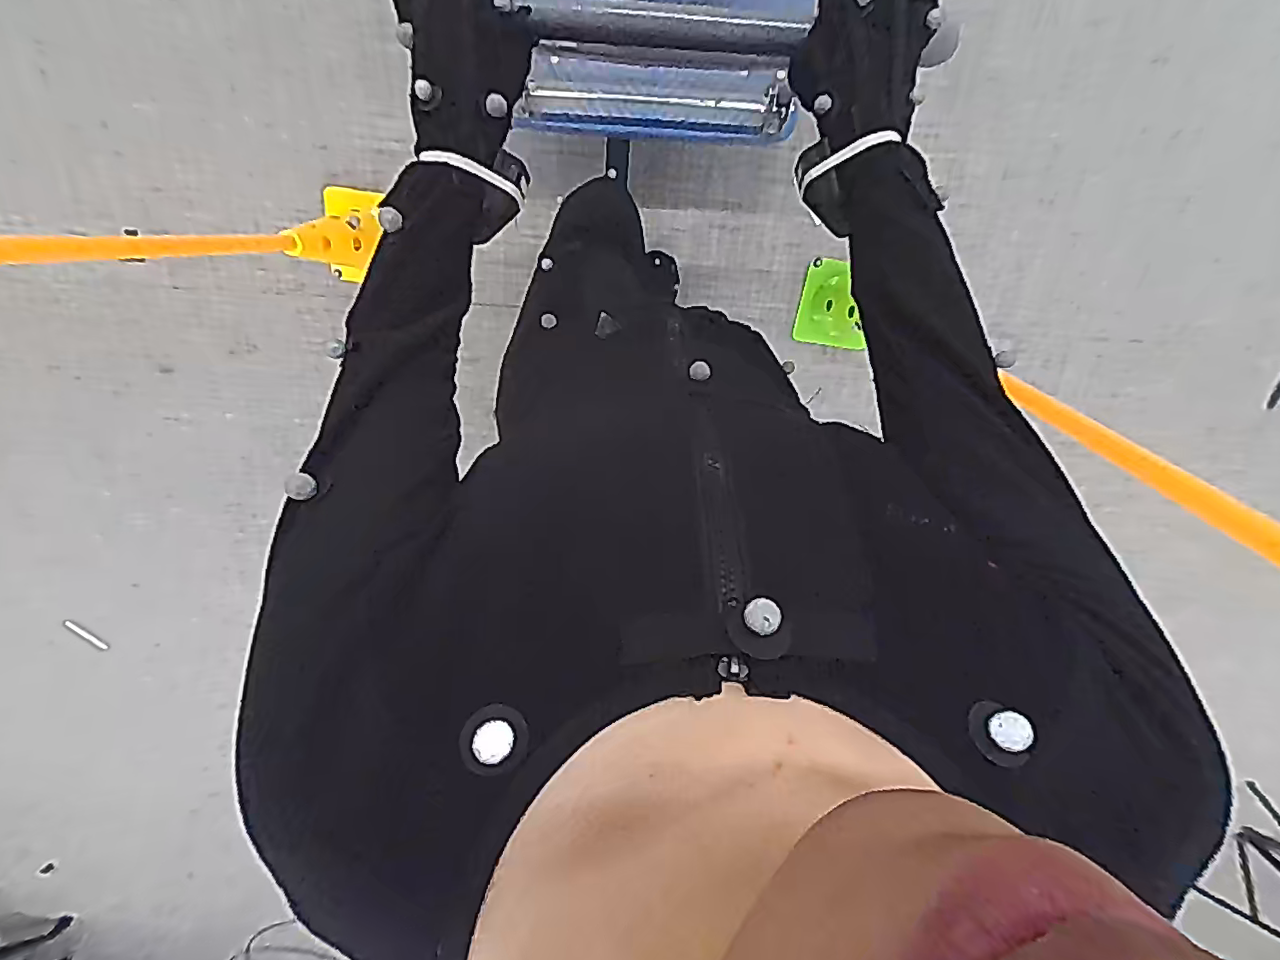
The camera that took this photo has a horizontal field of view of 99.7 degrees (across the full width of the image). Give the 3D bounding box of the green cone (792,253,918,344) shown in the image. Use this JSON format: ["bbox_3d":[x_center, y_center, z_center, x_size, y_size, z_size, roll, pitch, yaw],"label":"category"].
[{"bbox_3d":[0.501,-0.377,1.199,0.202,0.368,0.200,6,115,-6],"label":"green cone"}]
